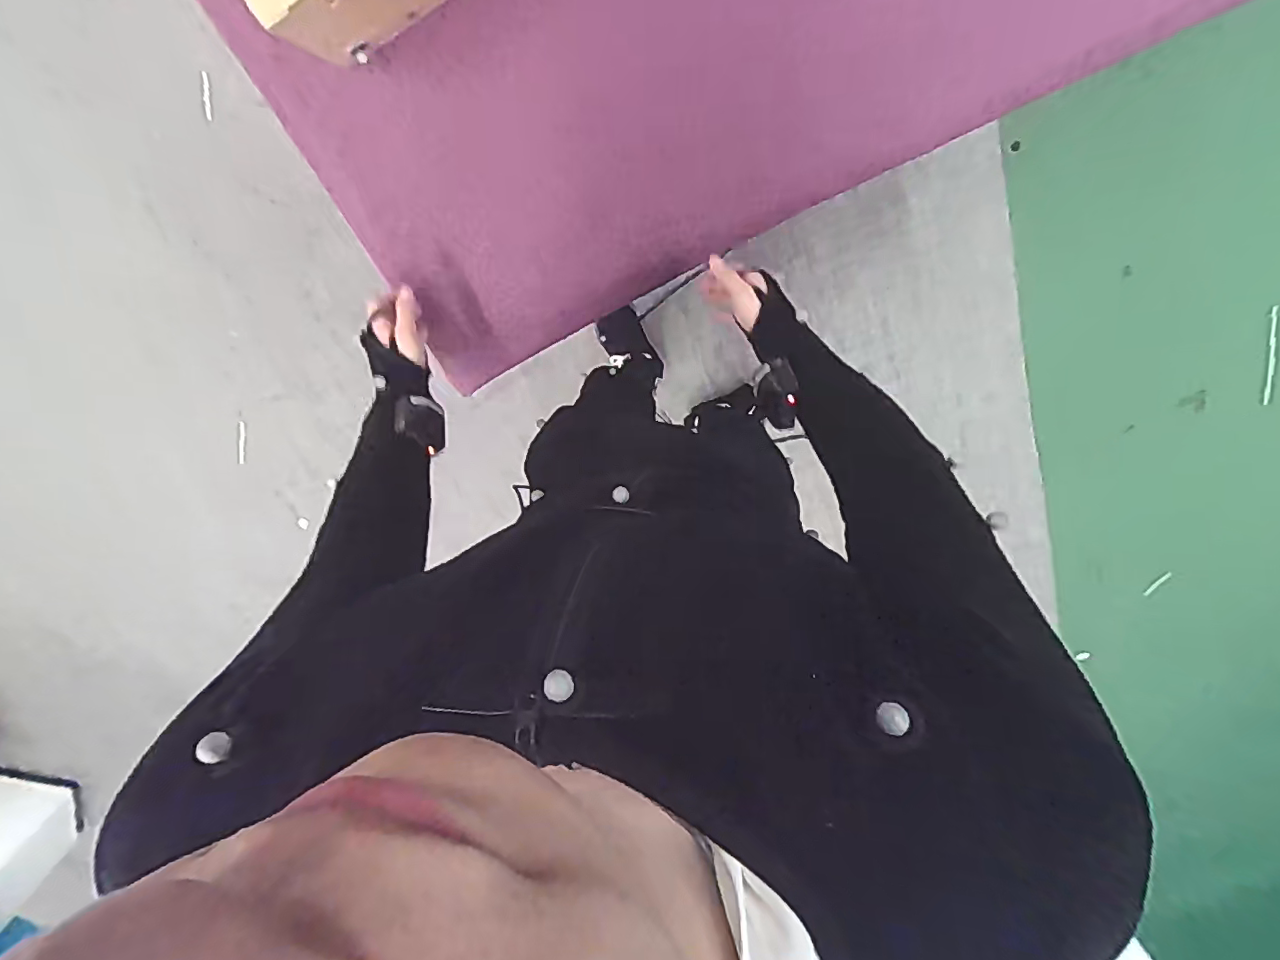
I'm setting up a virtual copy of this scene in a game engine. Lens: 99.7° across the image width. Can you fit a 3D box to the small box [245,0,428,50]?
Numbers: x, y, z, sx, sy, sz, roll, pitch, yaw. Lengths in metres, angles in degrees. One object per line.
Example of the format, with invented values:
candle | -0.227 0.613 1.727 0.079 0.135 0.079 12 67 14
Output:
small box | -0.312 -0.550 0.512 0.168 0.176 0.179 -25 114 11
